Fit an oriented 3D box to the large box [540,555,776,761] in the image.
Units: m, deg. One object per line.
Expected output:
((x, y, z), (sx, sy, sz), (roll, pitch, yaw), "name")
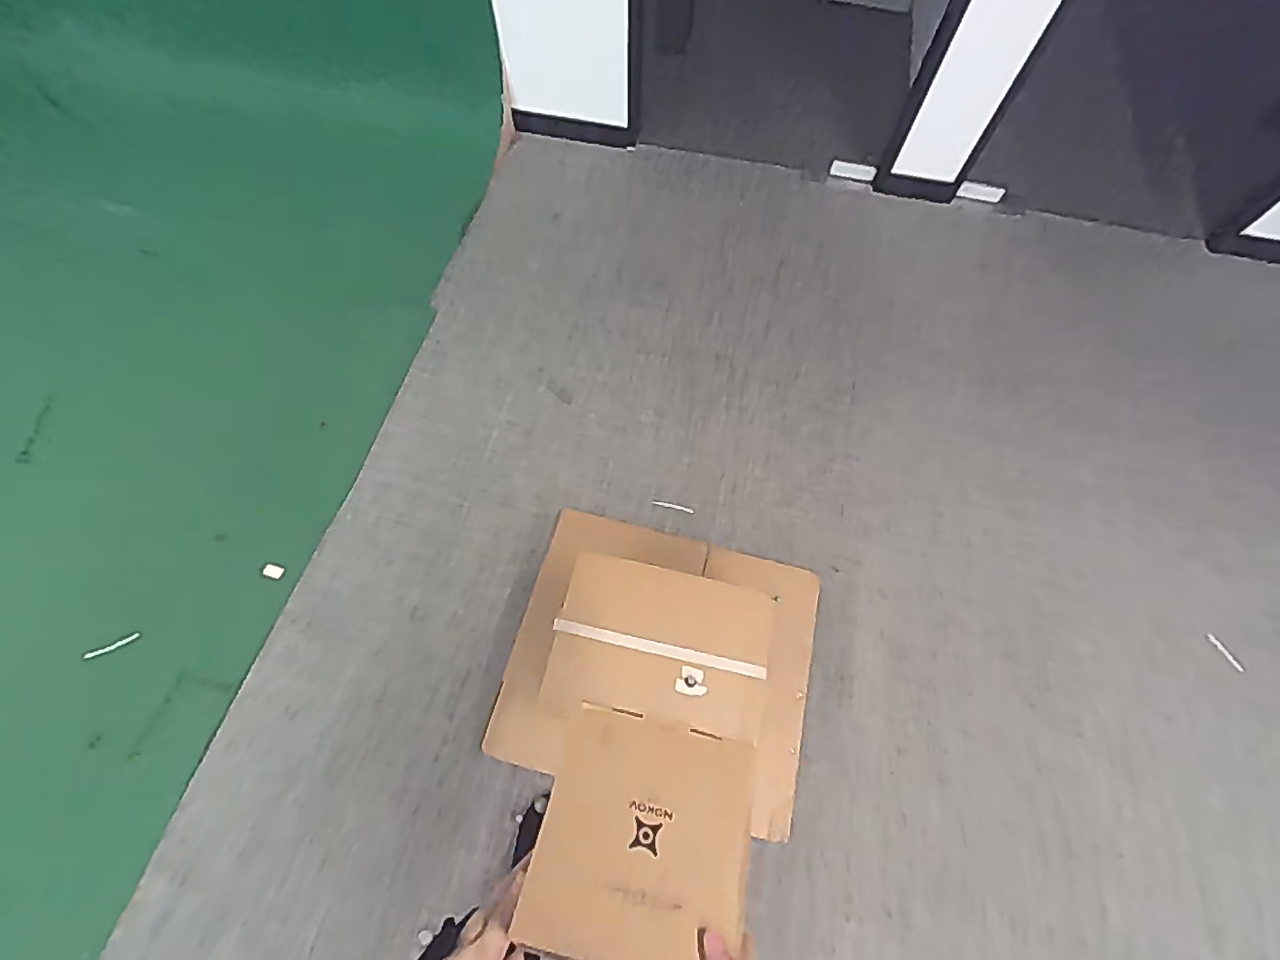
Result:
((0.036, 0.387, 1.146), (0.408, 0.320, 0.320), (13, 65, 3), "large box")

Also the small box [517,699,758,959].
((0.001, 0.334, 0.489), (0.168, 0.176, 0.179), (12, 46, 5), "small box")
